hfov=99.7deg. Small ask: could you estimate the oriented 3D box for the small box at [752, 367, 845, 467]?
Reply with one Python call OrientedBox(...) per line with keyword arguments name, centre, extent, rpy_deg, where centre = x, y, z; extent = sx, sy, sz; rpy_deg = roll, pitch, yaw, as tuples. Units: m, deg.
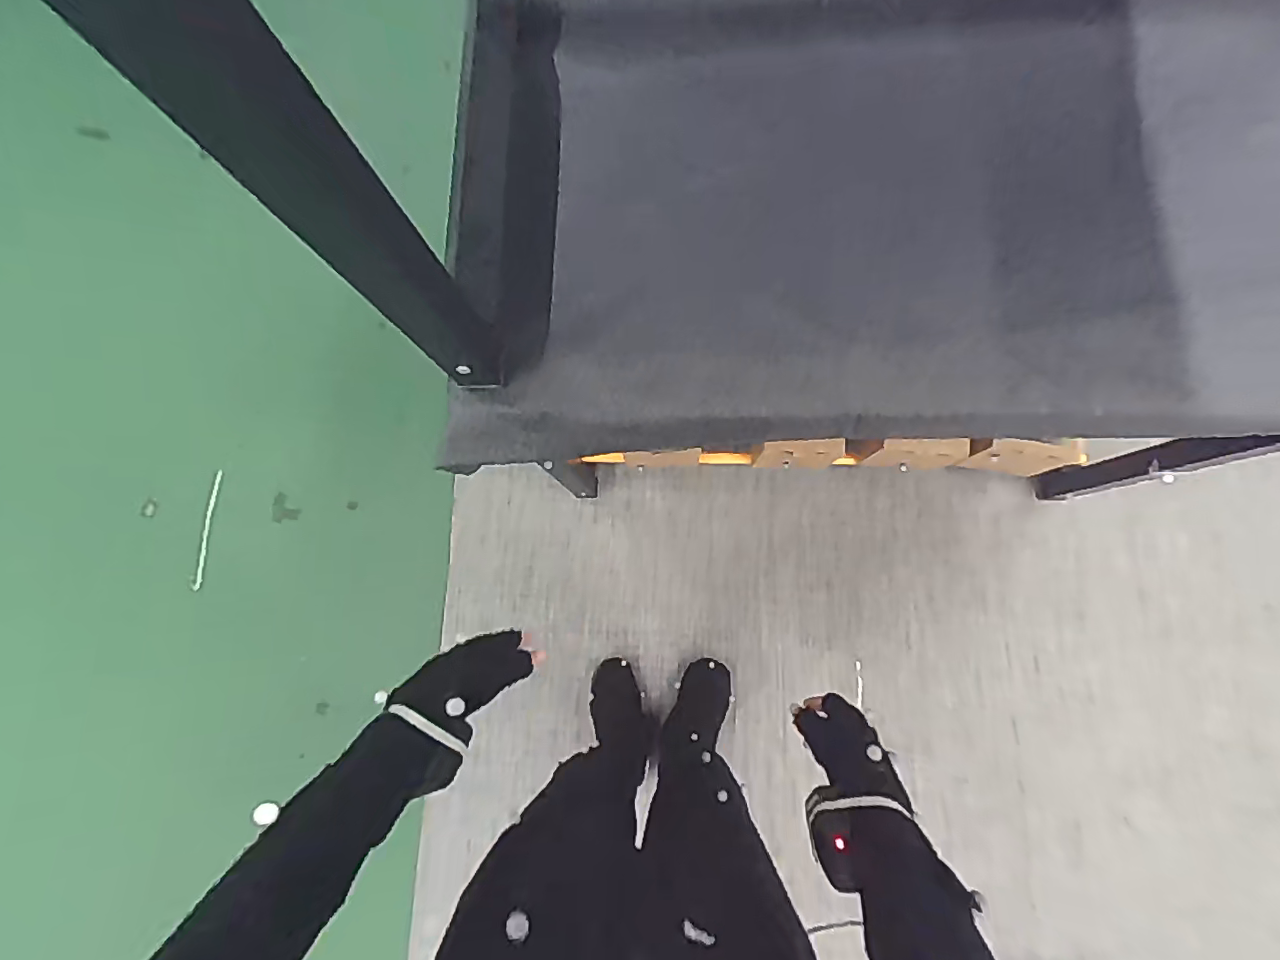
OrientedBox(name="small box", centre=(0.337, -0.132, 1.175), extent=(0.168, 0.176, 0.179), rpy_deg=(2, 81, 4))
